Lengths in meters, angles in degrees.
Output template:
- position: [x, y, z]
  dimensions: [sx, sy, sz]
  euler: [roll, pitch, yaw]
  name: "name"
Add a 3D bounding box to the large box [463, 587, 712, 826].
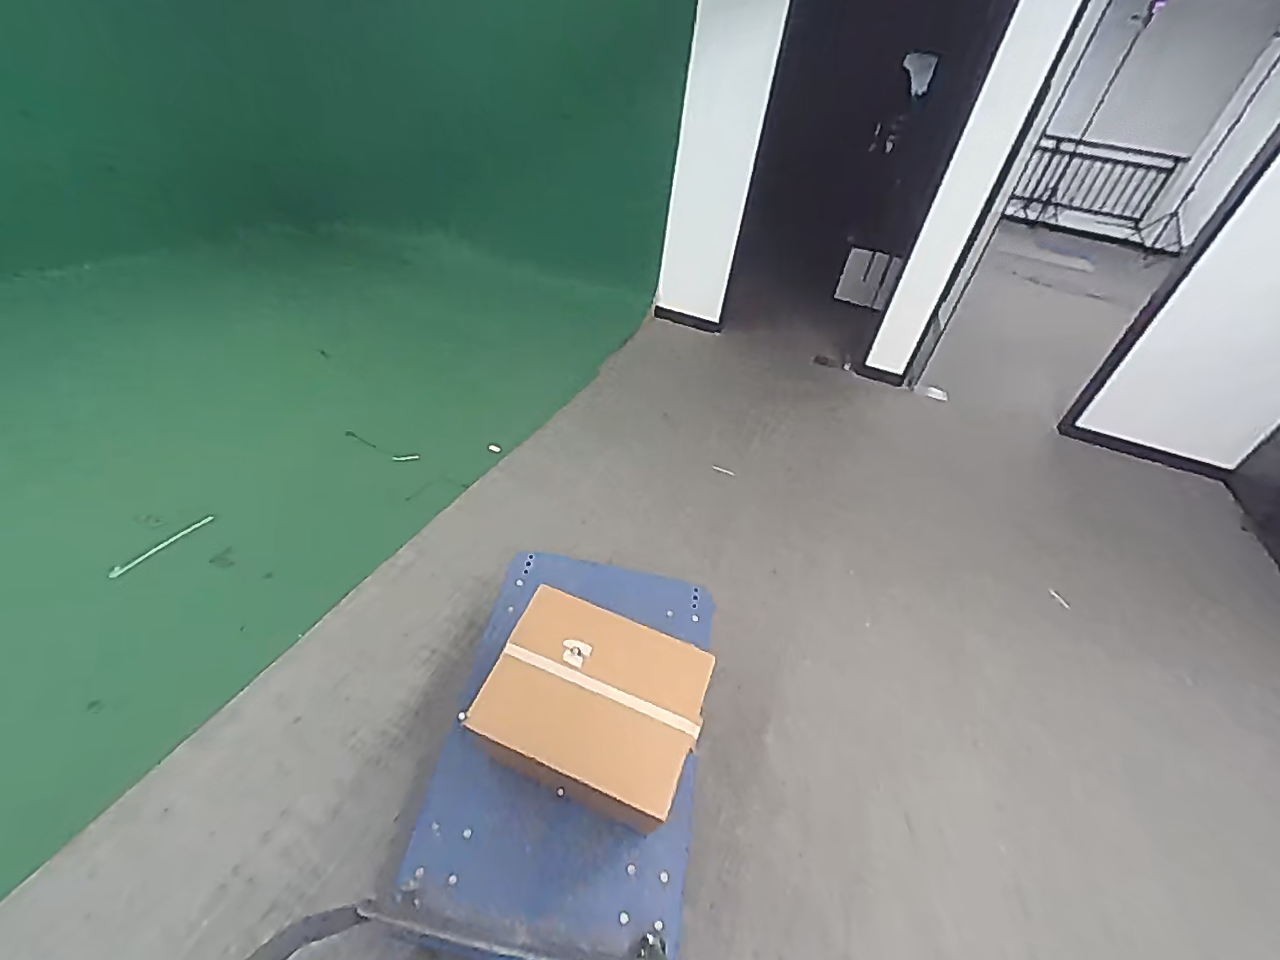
- position: [-0.097, 0.494, 1.169]
  dimensions: [0.408, 0.320, 0.320]
  euler: [21, 54, 10]
  name: "large box"
